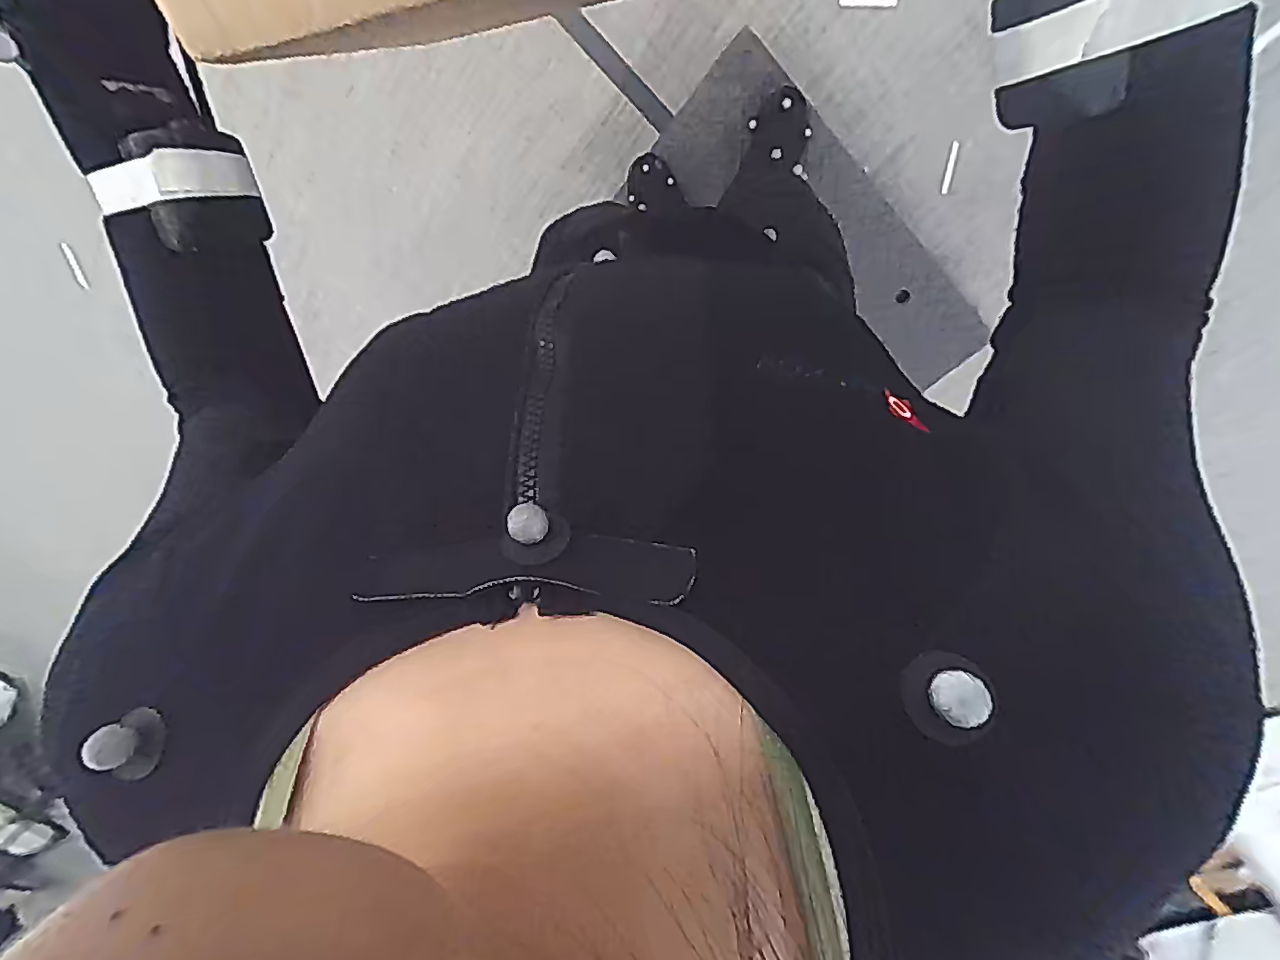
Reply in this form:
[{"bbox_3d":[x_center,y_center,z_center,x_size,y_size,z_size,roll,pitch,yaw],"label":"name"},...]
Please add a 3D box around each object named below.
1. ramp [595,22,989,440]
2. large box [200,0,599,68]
[{"bbox_3d":[0.423,-0.515,1.377,0.991,0.206,0.509,37,119,-15],"label":"ramp"},{"bbox_3d":[-0.047,-0.460,0.283,0.408,0.320,0.320,-4,129,11],"label":"large box"}]
